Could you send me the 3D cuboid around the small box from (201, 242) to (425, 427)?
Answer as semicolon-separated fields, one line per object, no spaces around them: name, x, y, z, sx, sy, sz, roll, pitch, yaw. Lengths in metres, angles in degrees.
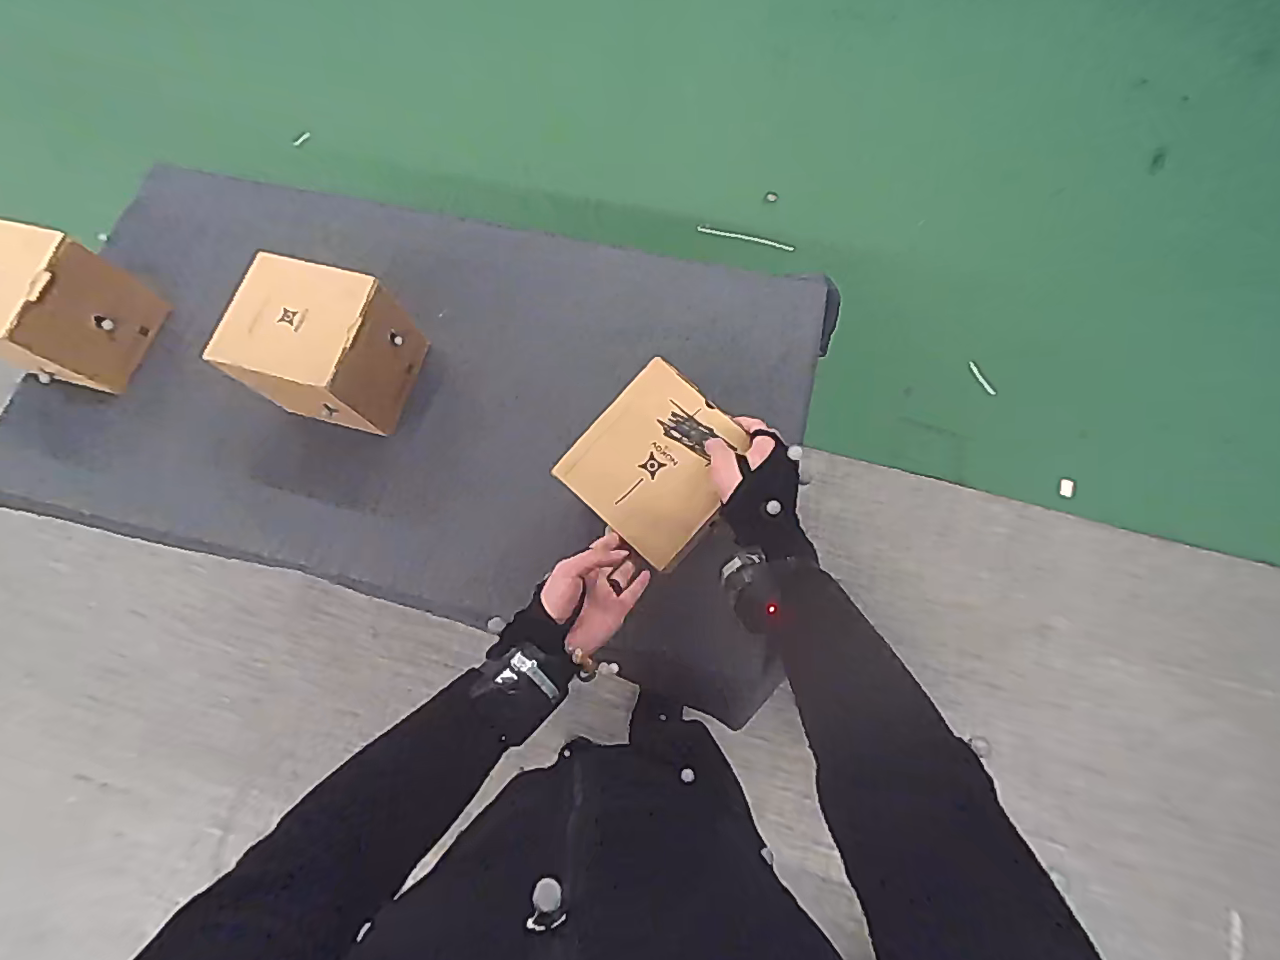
small box;-0.430;-0.190;0.748;0.179;0.176;0.168;14;73;6

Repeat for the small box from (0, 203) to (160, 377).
small box;-0.861;-0.268;0.774;0.179;0.176;0.168;15;73;4

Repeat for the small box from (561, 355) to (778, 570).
small box;0.035;-0.010;0.650;0.168;0.176;0.179;42;87;11
